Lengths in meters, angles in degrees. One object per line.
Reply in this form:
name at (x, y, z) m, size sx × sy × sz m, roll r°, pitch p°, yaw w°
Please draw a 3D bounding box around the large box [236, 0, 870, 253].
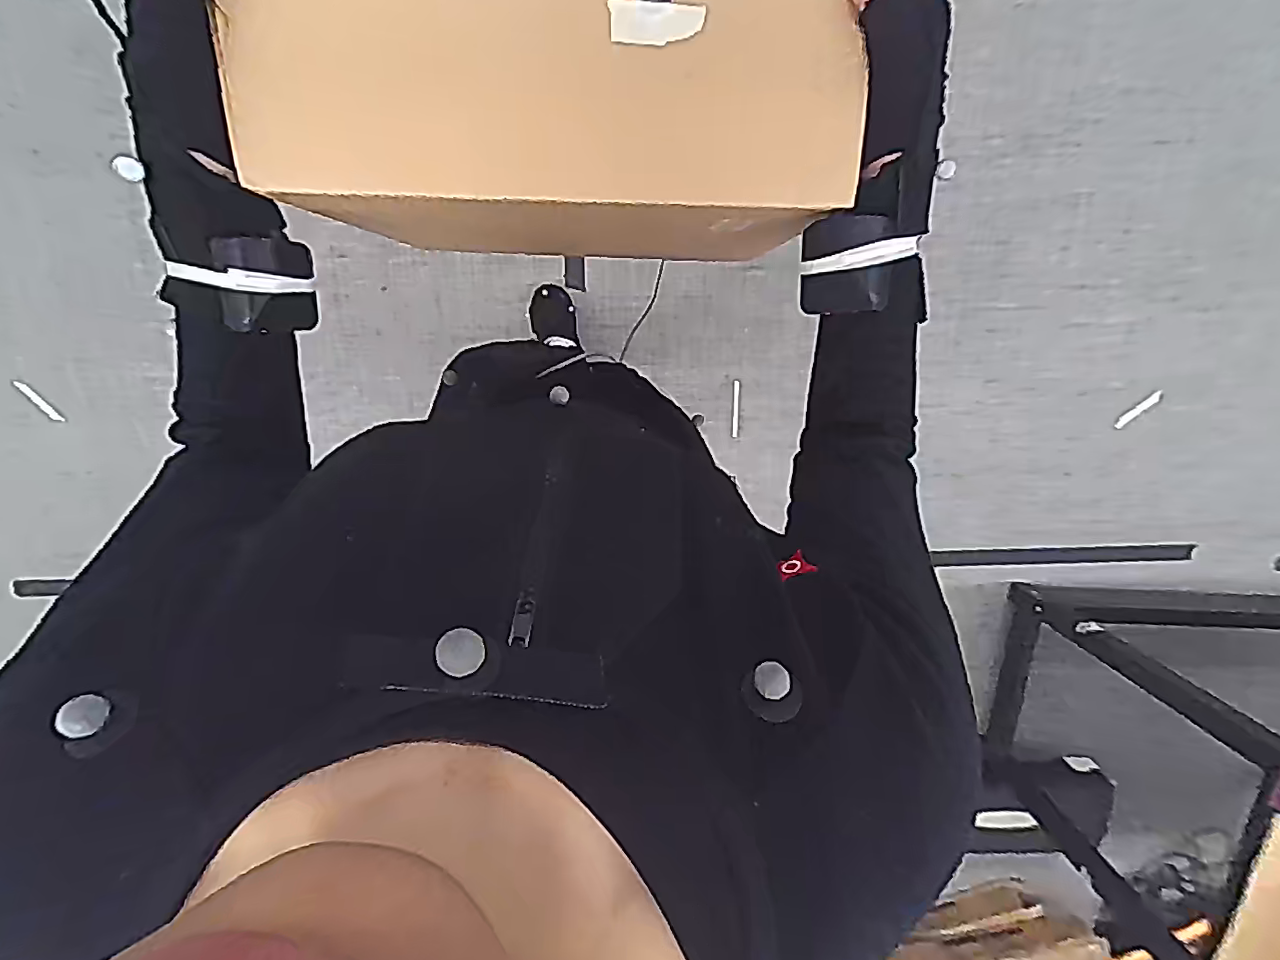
large box at (-0.056, -0.382, 0.470) m, size 0.408 × 0.320 × 0.320 m, roll 1°, pitch 107°, yaw -2°
